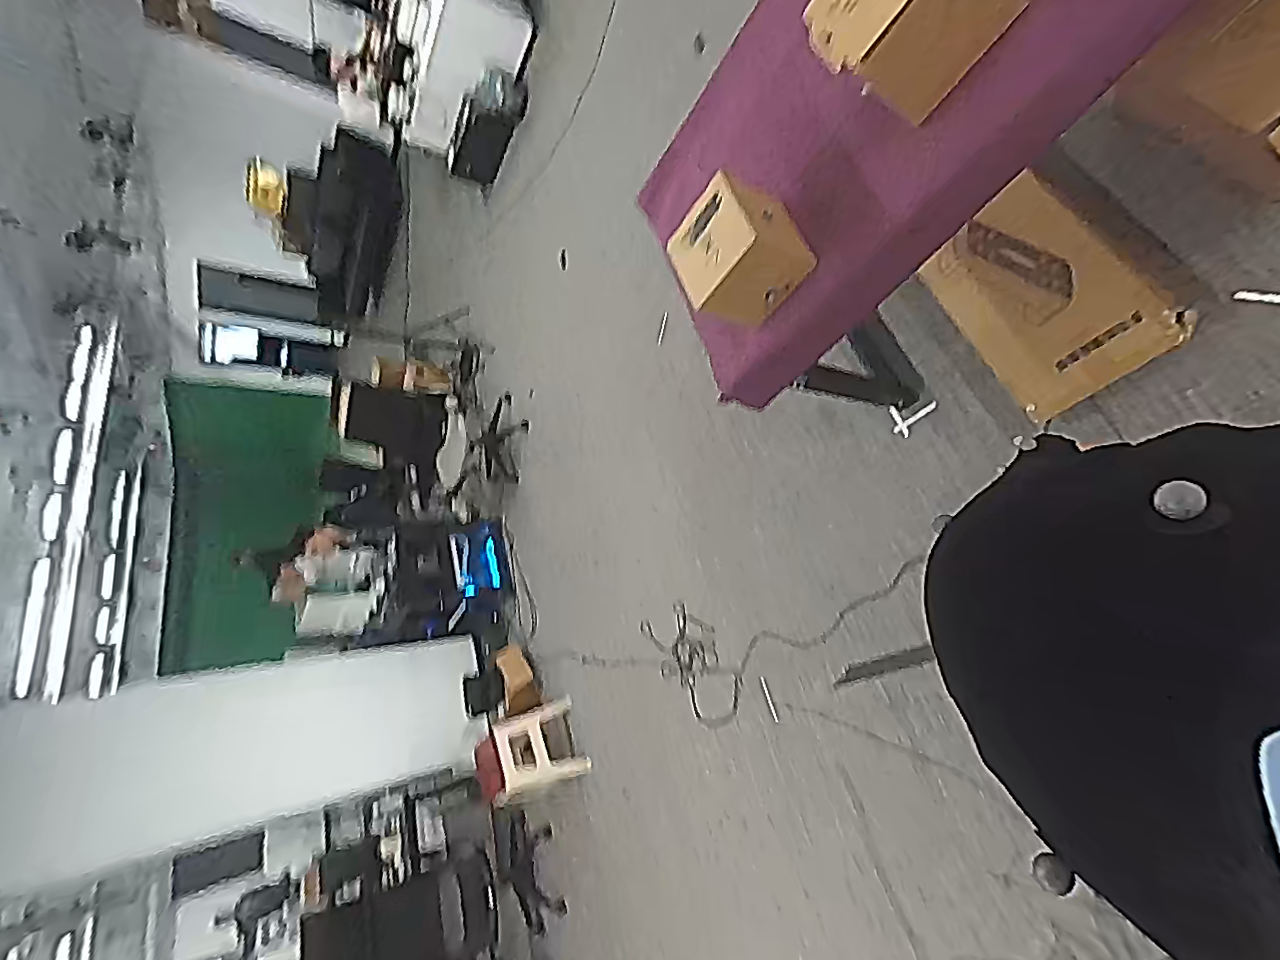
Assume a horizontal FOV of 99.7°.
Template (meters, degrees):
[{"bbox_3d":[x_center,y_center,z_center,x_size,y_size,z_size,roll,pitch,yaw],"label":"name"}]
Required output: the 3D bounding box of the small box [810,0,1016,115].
[{"bbox_3d":[0.377,-0.658,0.740,0.179,0.176,0.168,-45,52,43],"label":"small box"}]
